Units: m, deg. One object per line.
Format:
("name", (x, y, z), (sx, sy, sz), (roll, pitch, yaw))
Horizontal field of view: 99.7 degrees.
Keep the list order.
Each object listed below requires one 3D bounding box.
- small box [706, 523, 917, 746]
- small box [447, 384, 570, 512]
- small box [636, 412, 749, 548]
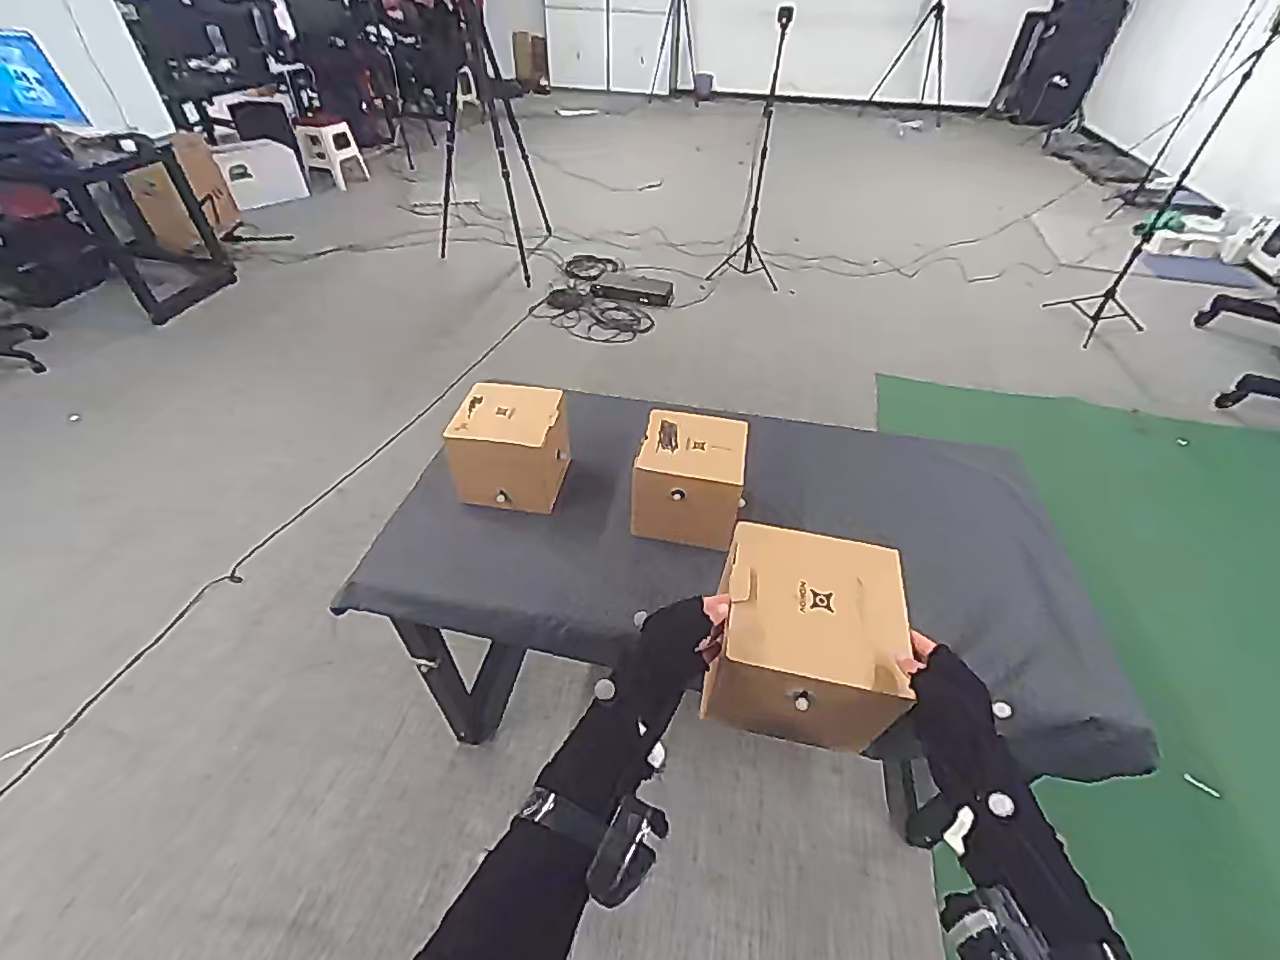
("small box", (0.175, 0.175, 0.601), (0.179, 0.176, 0.168), (11, 49, 5))
("small box", (-0.234, -0.058, 1.020), (0.179, 0.176, 0.168), (8, 44, 5))
("small box", (0.091, 0.002, 0.970), (0.179, 0.176, 0.168), (9, 44, 7))
